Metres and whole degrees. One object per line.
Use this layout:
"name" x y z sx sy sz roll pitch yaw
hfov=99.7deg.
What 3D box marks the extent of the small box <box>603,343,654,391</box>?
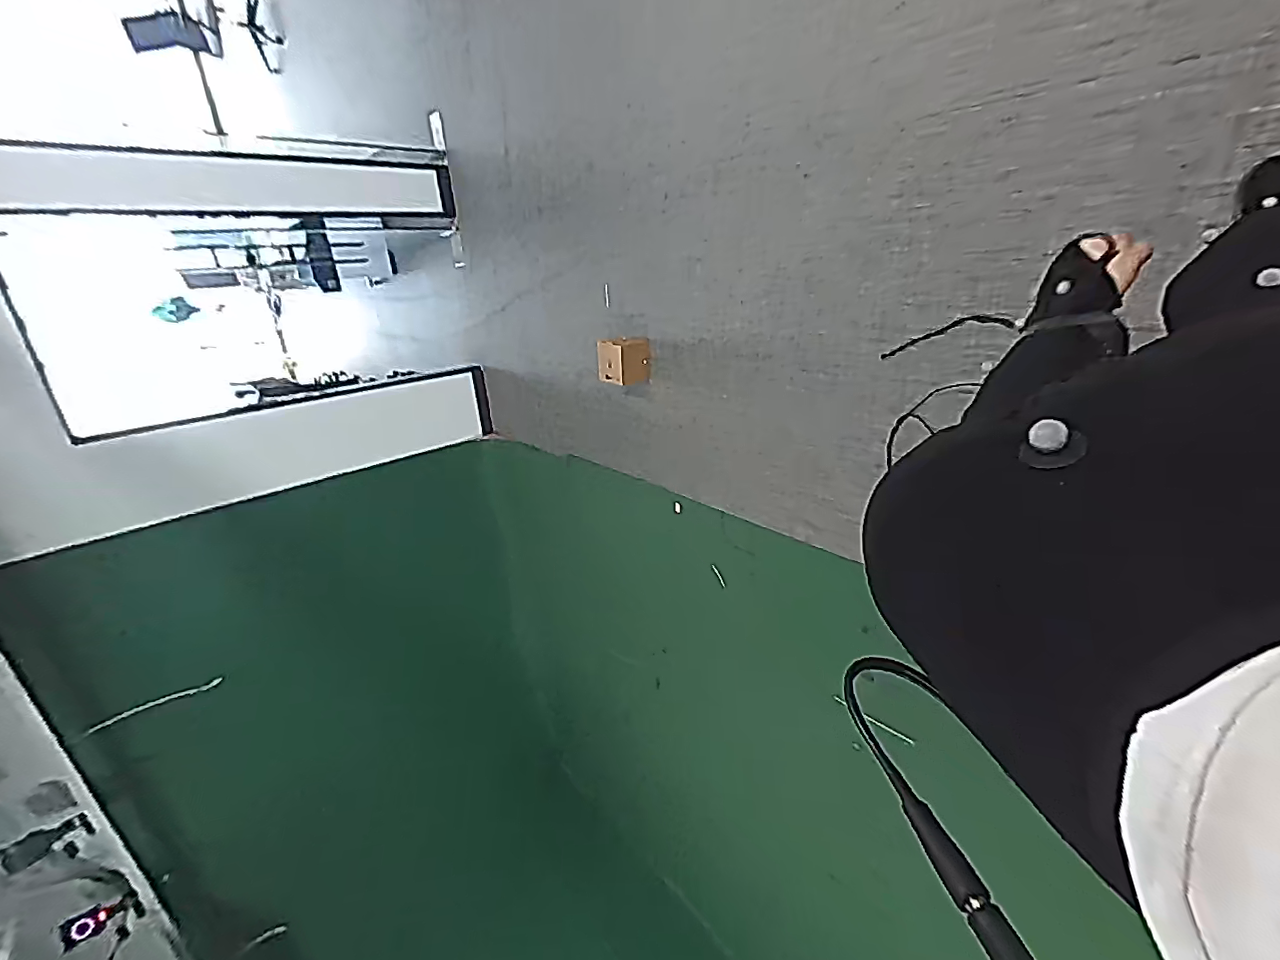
"small box" -0.048 -0.514 2.427 0.168 0.176 0.179 24 124 43
